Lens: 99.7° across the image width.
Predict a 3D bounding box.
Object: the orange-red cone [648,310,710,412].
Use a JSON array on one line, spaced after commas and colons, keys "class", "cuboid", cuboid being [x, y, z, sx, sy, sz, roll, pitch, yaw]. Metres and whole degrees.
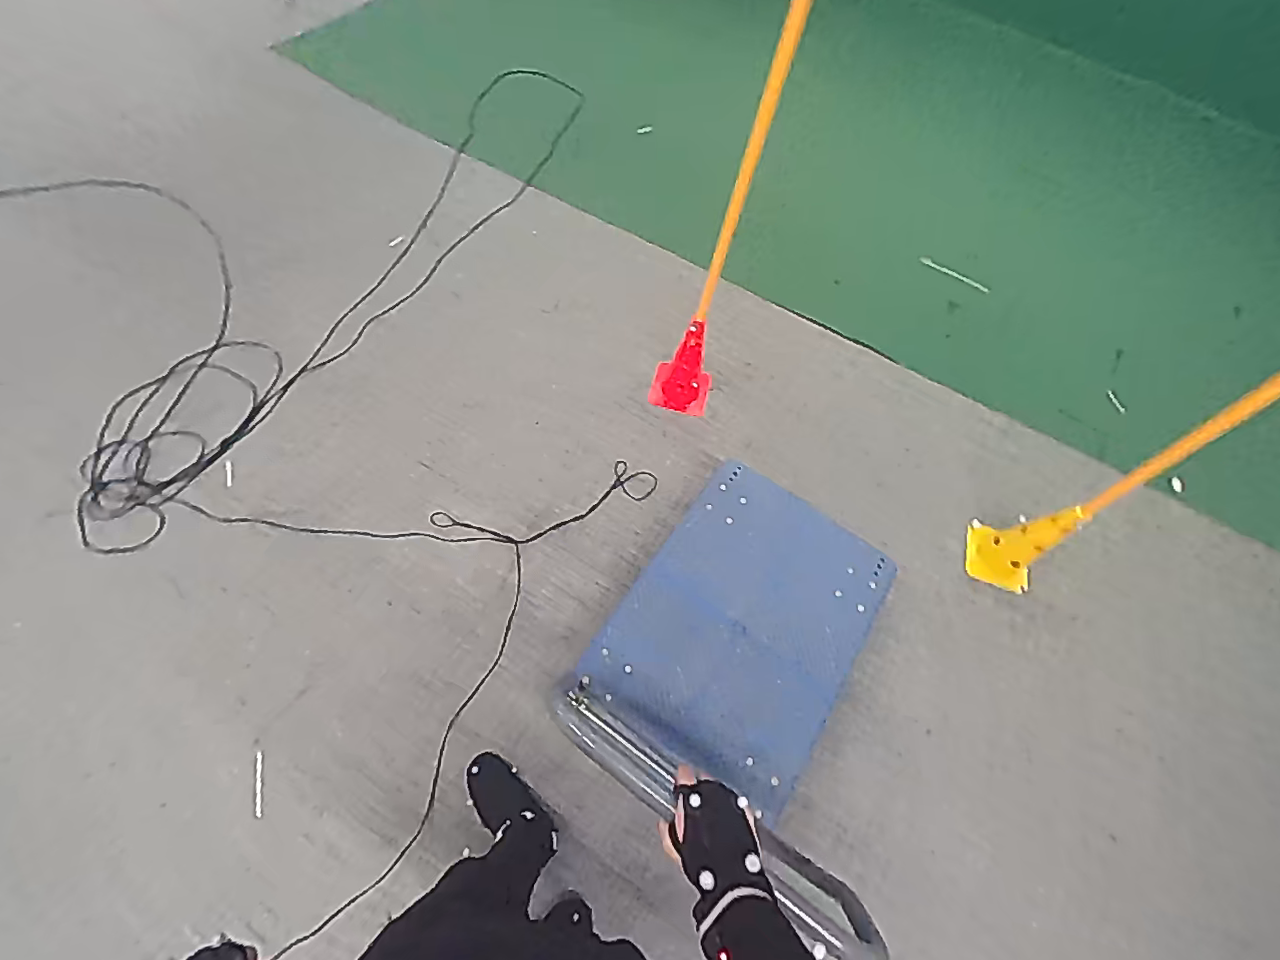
[{"class": "orange-red cone", "cuboid": [0.157, -0.417, 1.785, 0.199, 0.360, 0.198, 16, 62, 3]}]
